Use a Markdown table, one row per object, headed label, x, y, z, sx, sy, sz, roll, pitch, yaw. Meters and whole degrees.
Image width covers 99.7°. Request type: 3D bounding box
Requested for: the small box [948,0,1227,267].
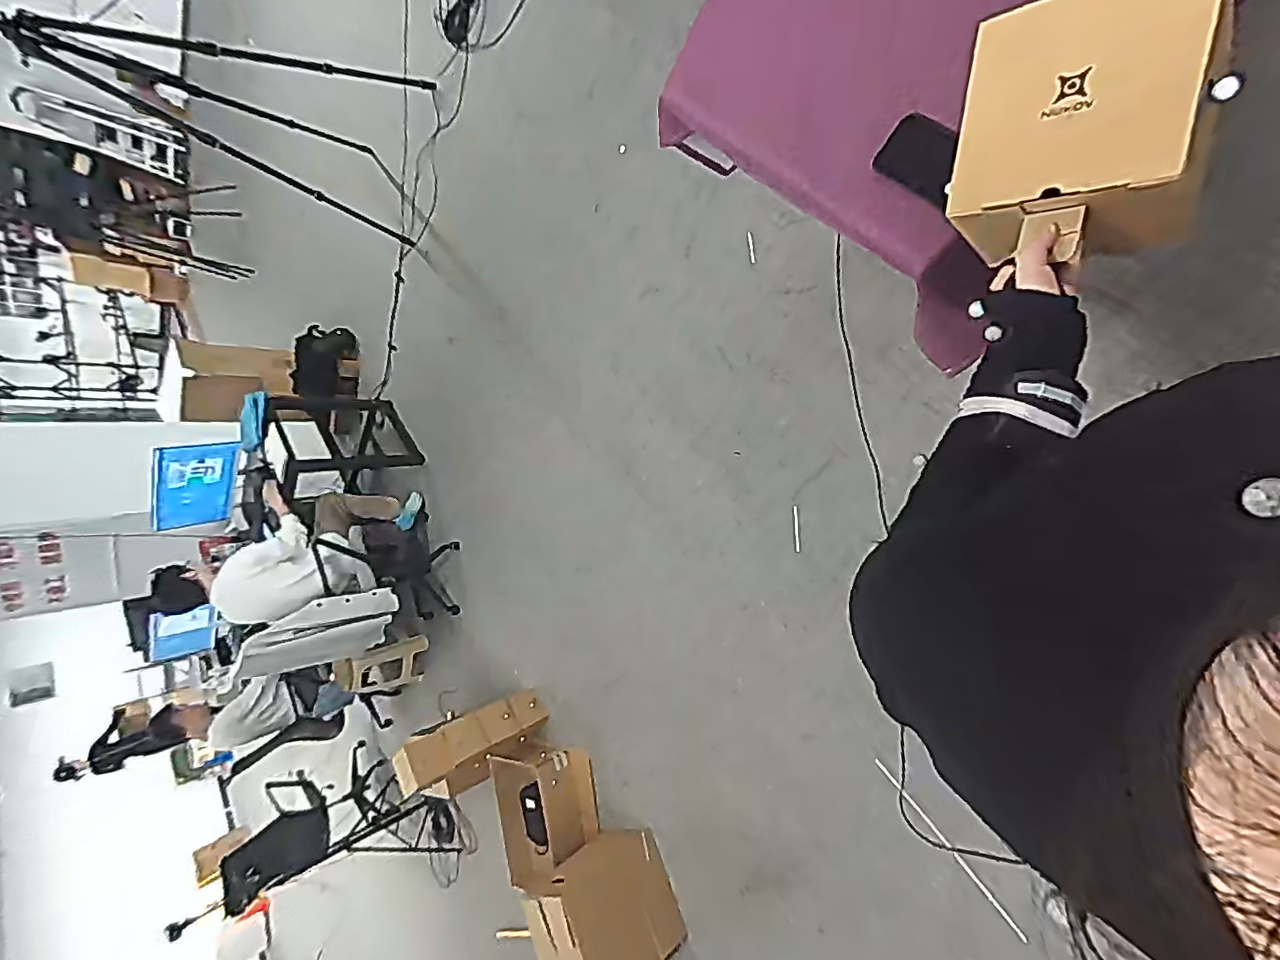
| label | x | y | z | sx | sy | sz | roll | pitch | yaw |
| --- | --- | --- | --- | --- | --- | --- | --- | --- | --- |
| small box | 0.427 | -0.326 | 0.522 | 0.168 | 0.176 | 0.179 | 14 | 99 | 45 |
